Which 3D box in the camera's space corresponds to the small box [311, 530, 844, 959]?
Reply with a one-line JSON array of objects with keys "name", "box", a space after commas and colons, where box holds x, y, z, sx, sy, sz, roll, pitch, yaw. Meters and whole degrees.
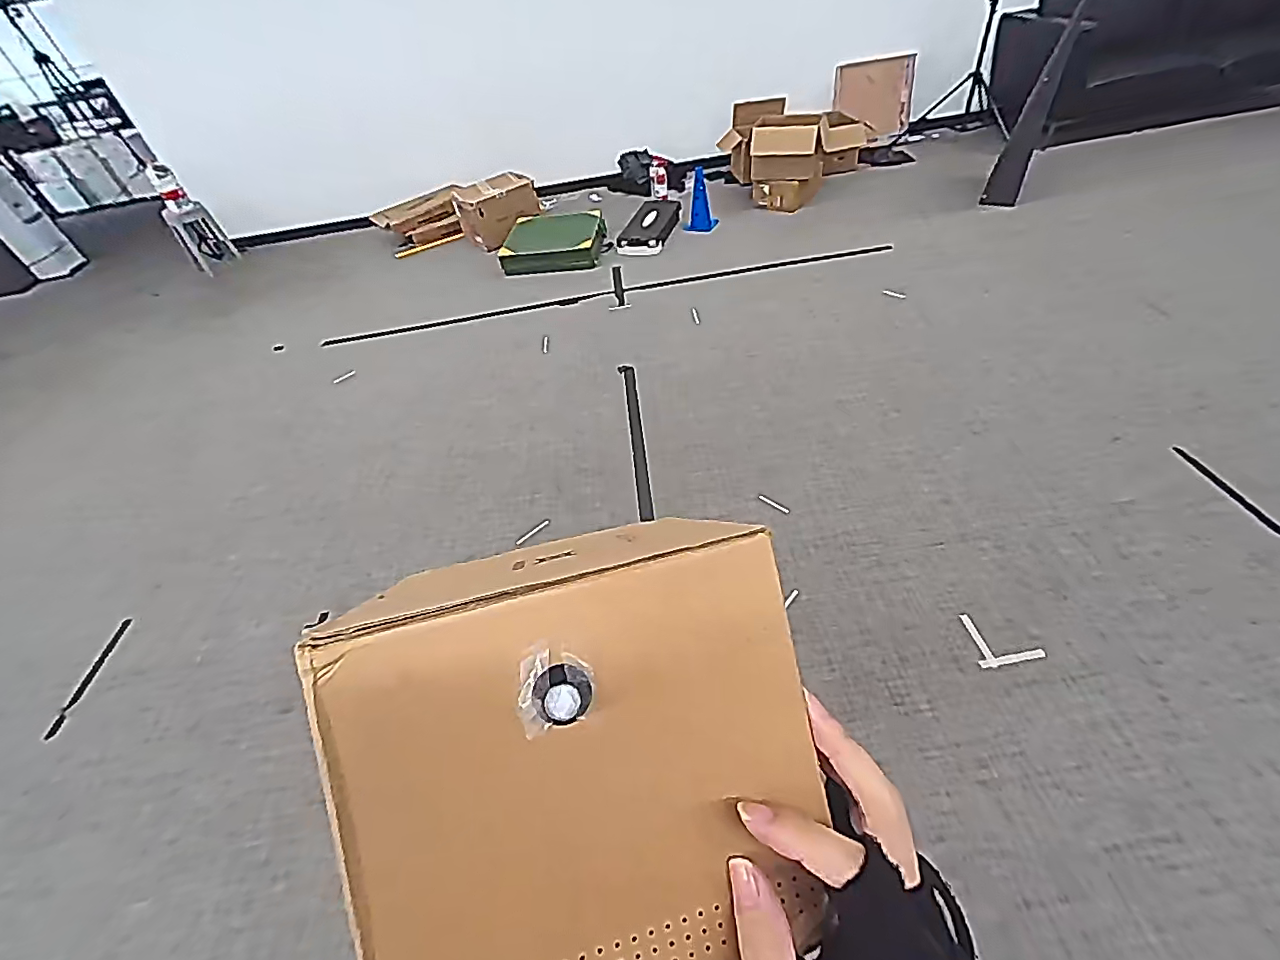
[{"name": "small box", "box": [-0.026, 0.128, 0.275, 0.179, 0.168, 0.176, -11, 90, -10]}]
